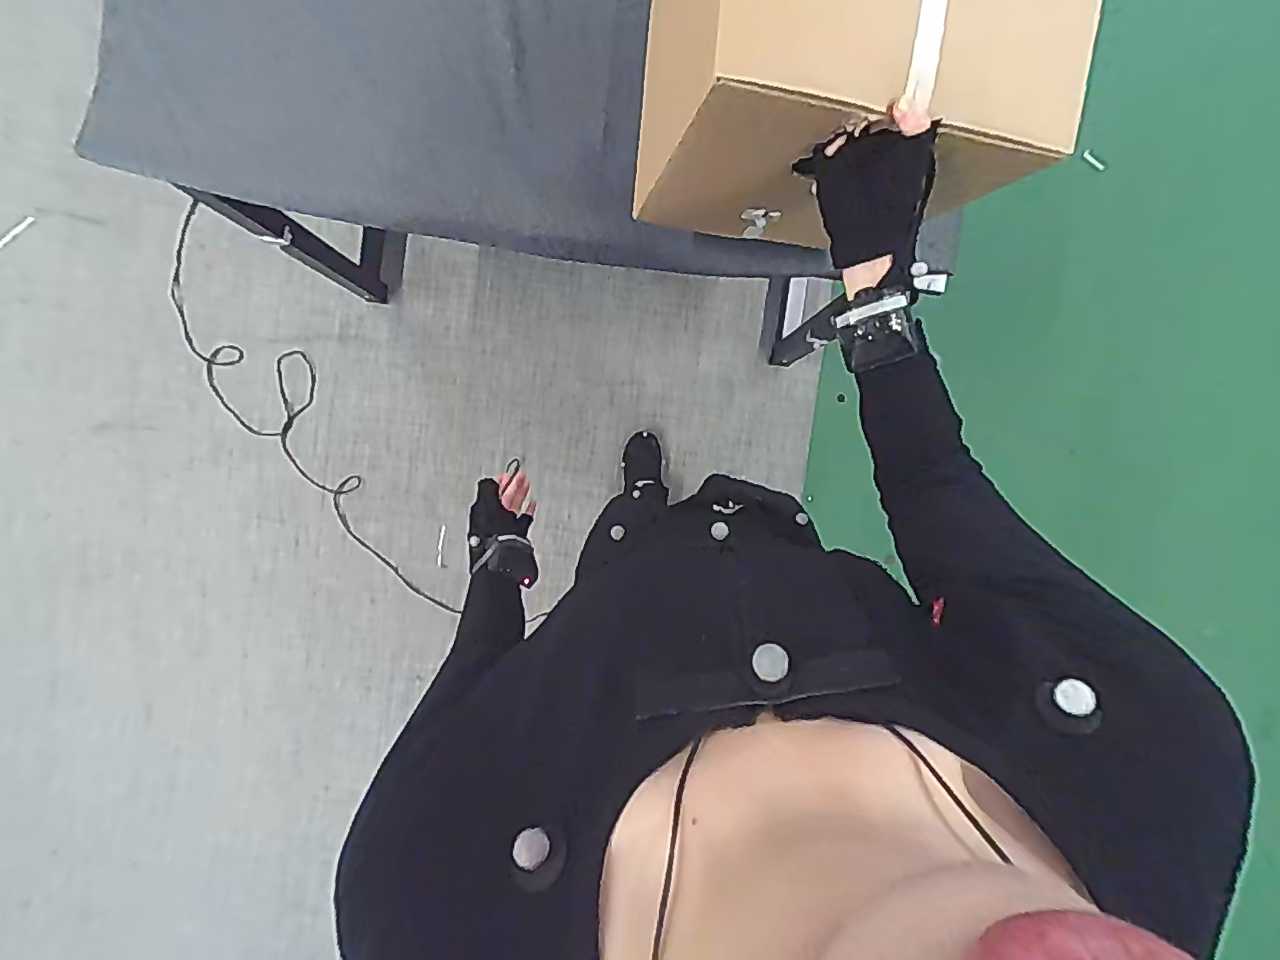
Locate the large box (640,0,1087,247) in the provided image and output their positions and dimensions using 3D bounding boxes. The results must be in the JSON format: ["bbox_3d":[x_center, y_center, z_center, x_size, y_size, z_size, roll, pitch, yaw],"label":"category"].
[{"bbox_3d":[0.185,-0.494,0.534,0.320,0.320,0.408,4,96,-12],"label":"large box"}]
